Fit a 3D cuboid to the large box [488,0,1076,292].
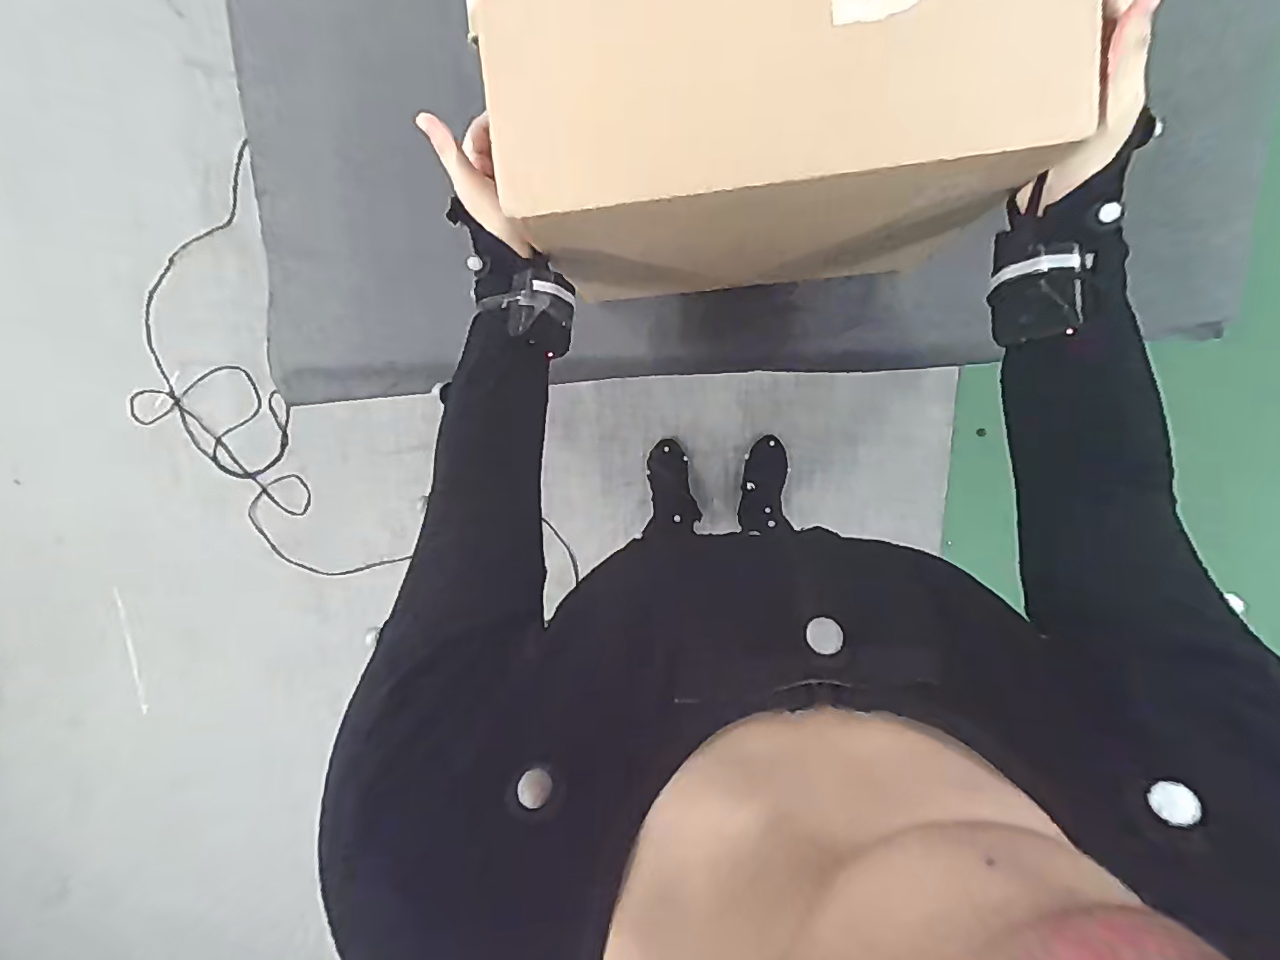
[{"bbox_3d":[0.098,-0.392,0.517,0.408,0.320,0.320,-5,98,7],"label":"large box"}]
